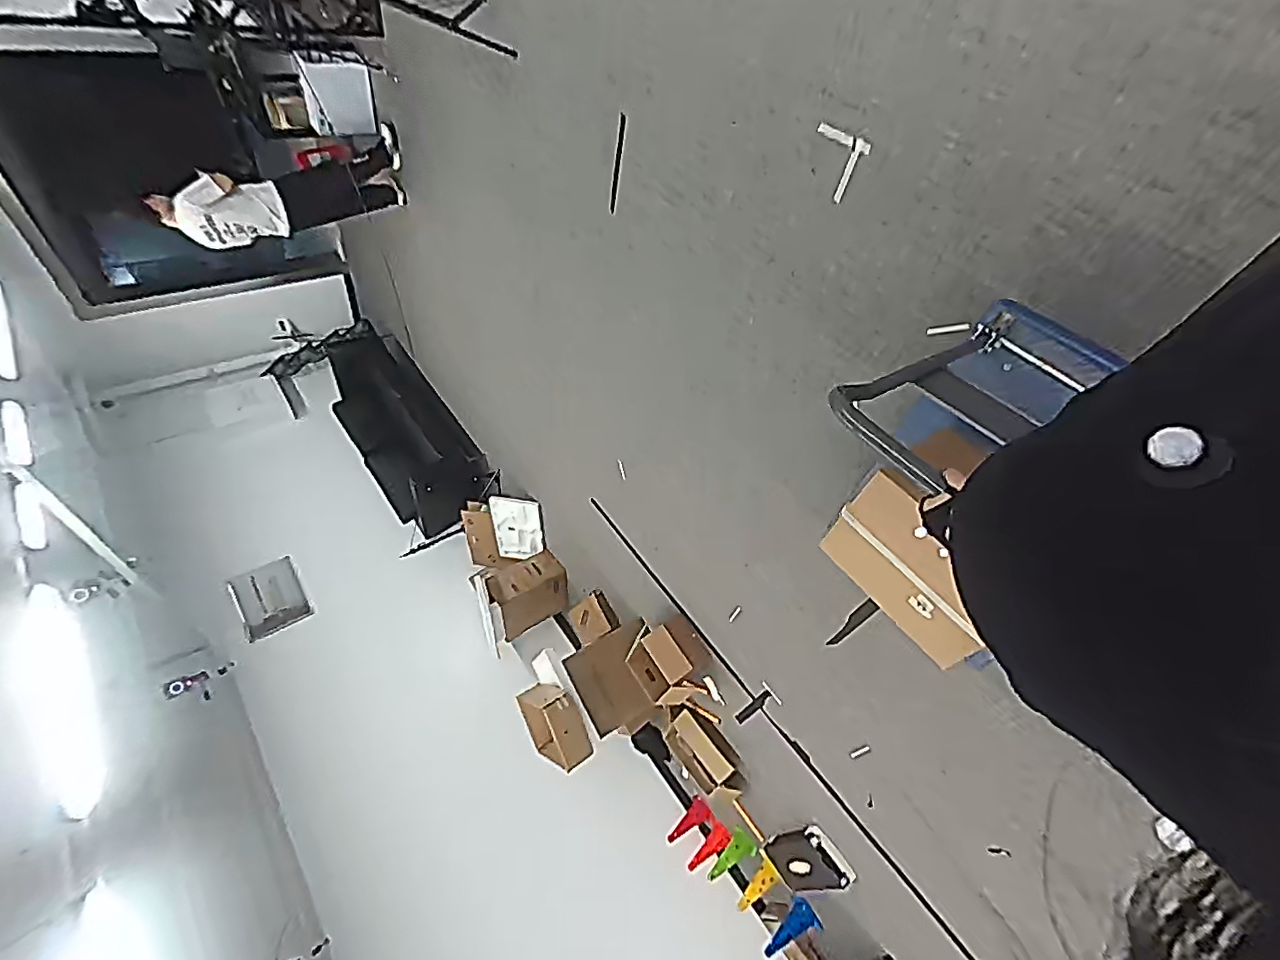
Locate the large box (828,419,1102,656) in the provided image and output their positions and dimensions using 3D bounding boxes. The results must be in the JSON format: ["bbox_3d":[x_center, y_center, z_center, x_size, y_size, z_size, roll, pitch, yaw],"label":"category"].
[{"bbox_3d":[0.751,0.124,1.294,0.408,0.320,0.320,47,146,24],"label":"large box"}]
